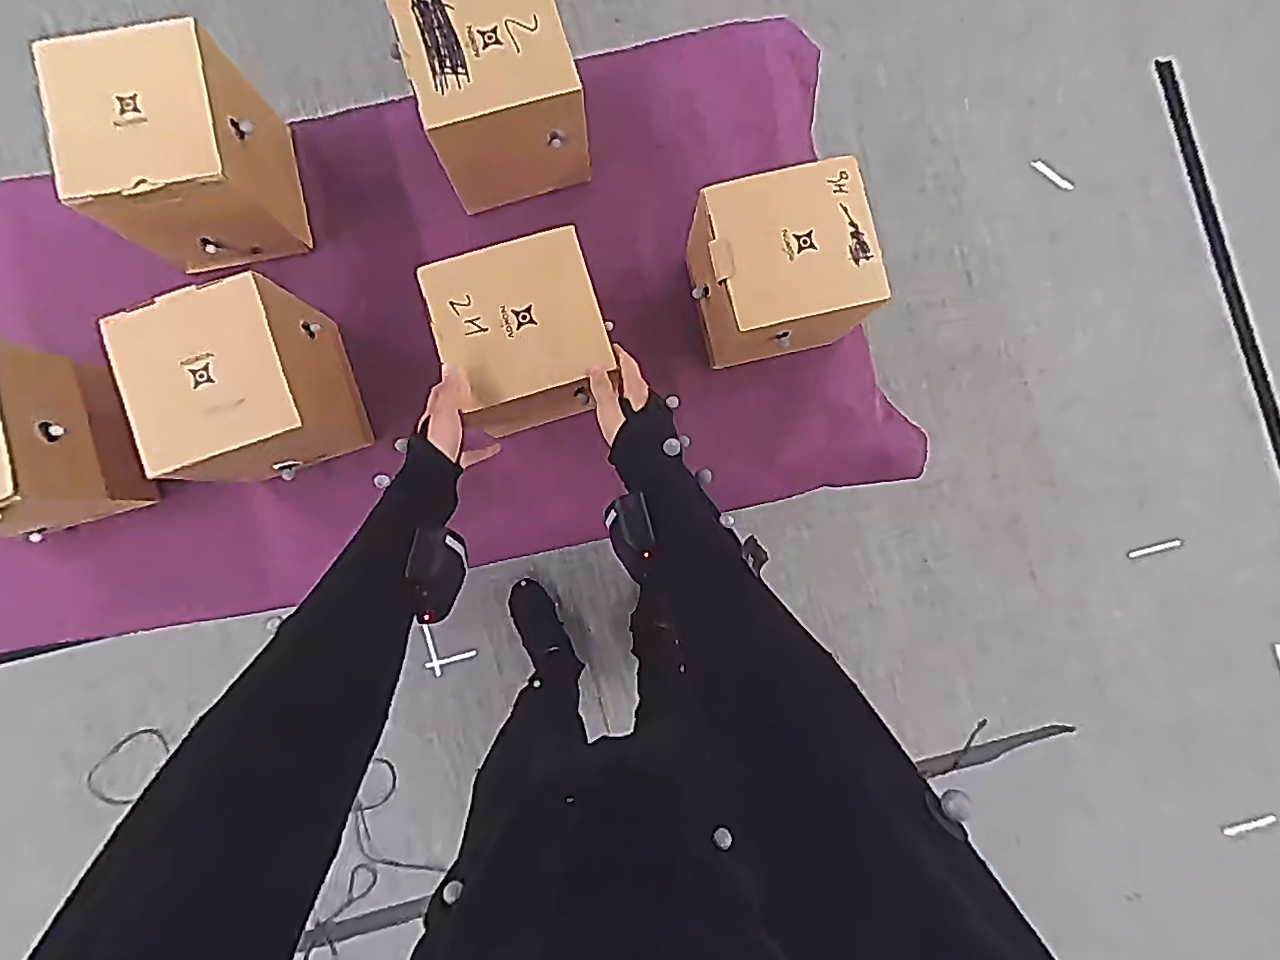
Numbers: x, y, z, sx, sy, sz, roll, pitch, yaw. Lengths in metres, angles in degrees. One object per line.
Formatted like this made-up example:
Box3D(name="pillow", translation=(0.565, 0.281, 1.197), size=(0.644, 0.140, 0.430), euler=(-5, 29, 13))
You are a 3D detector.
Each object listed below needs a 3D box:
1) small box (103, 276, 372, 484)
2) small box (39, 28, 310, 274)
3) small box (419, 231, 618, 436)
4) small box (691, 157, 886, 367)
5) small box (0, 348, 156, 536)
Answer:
Box3D(name="small box", translation=(-0.452, -0.103, 0.637), size=(0.168, 0.176, 0.179), euler=(-19, 88, -2))
Box3D(name="small box", translation=(-0.531, -0.374, 0.642), size=(0.168, 0.176, 0.179), euler=(-12, 88, -3))
Box3D(name="small box", translation=(-0.131, -0.161, 0.648), size=(0.179, 0.176, 0.168), euler=(-17, 87, -2))
Box3D(name="small box", translation=(0.163, -0.249, 0.661), size=(0.179, 0.176, 0.168), euler=(-13, 88, -1))
Box3D(name="small box", translation=(-0.717, -0.035, 0.623), size=(0.168, 0.176, 0.179), euler=(-16, 87, -3))
